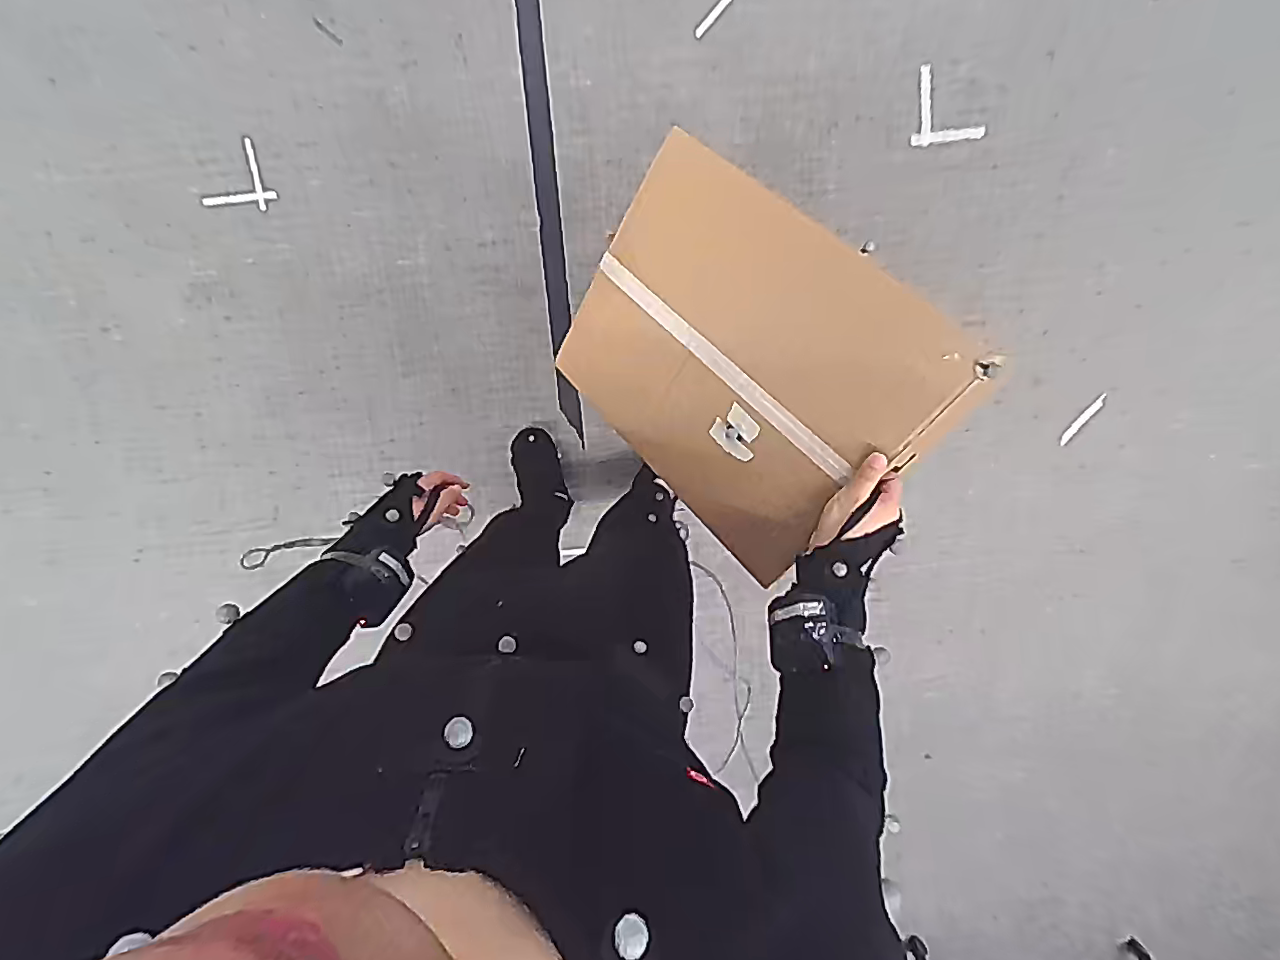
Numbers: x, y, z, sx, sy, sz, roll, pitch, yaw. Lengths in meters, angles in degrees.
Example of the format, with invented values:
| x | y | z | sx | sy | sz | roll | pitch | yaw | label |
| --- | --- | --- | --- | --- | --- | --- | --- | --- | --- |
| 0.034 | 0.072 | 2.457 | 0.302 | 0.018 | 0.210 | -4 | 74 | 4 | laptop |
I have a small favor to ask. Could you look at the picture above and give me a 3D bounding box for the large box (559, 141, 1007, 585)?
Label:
| x | y | z | sx | sy | sz | roll | pitch | yaw | label |
| --- | --- | --- | --- | --- | --- | --- | --- | --- | --- |
| 0.178 | -0.148 | 0.701 | 0.408 | 0.320 | 0.320 | 46 | 123 | 19 | large box |
